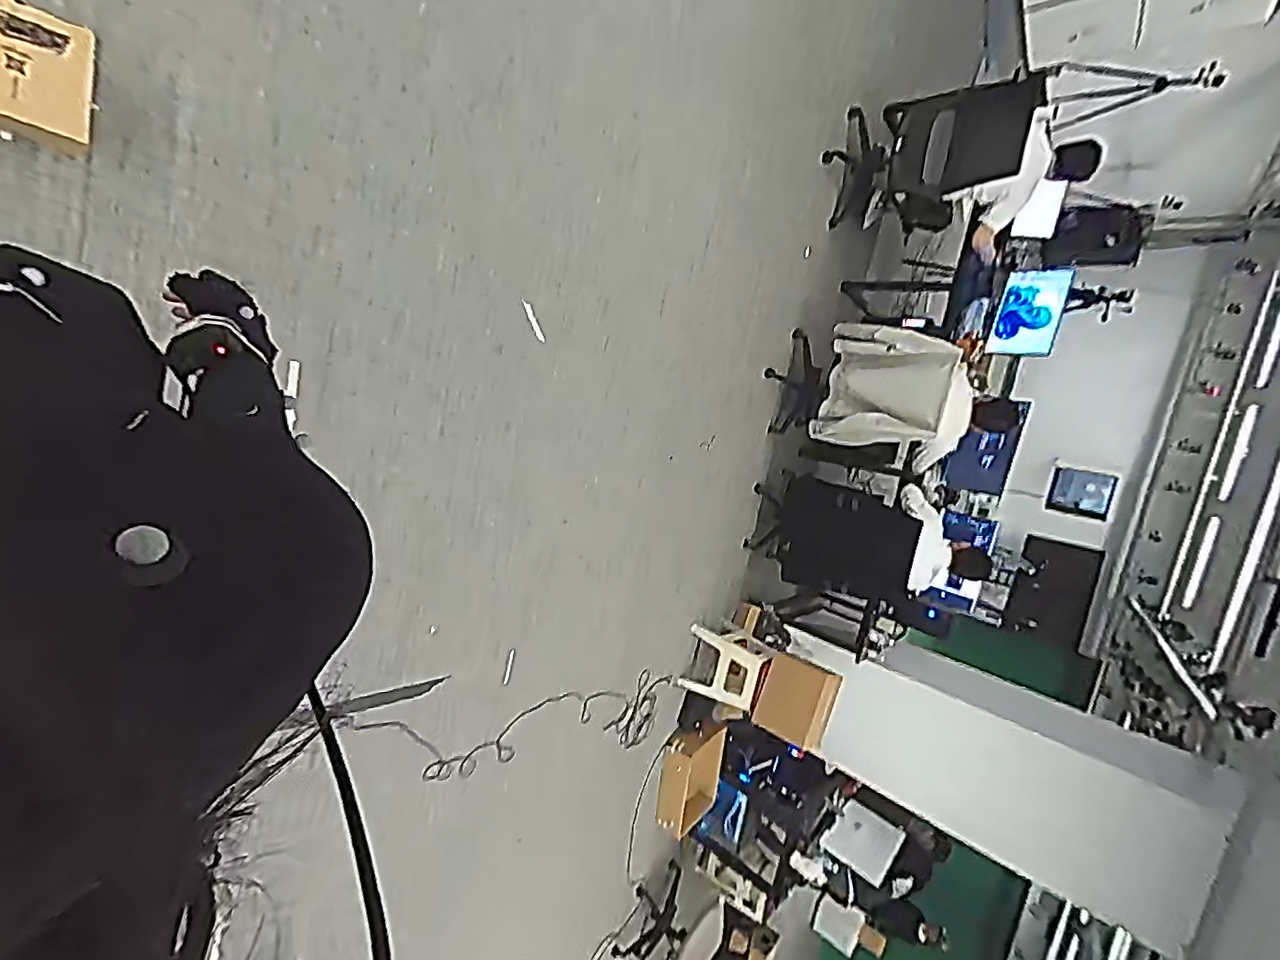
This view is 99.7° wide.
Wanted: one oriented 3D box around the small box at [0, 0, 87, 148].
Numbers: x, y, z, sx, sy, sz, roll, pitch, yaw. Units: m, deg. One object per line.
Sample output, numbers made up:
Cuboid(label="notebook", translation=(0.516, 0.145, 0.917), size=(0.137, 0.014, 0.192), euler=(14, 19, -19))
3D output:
Cuboid(label="small box", translation=(-1.024, -0.670, 0.867), size=(0.168, 0.176, 0.179), euler=(4, 101, -52))
